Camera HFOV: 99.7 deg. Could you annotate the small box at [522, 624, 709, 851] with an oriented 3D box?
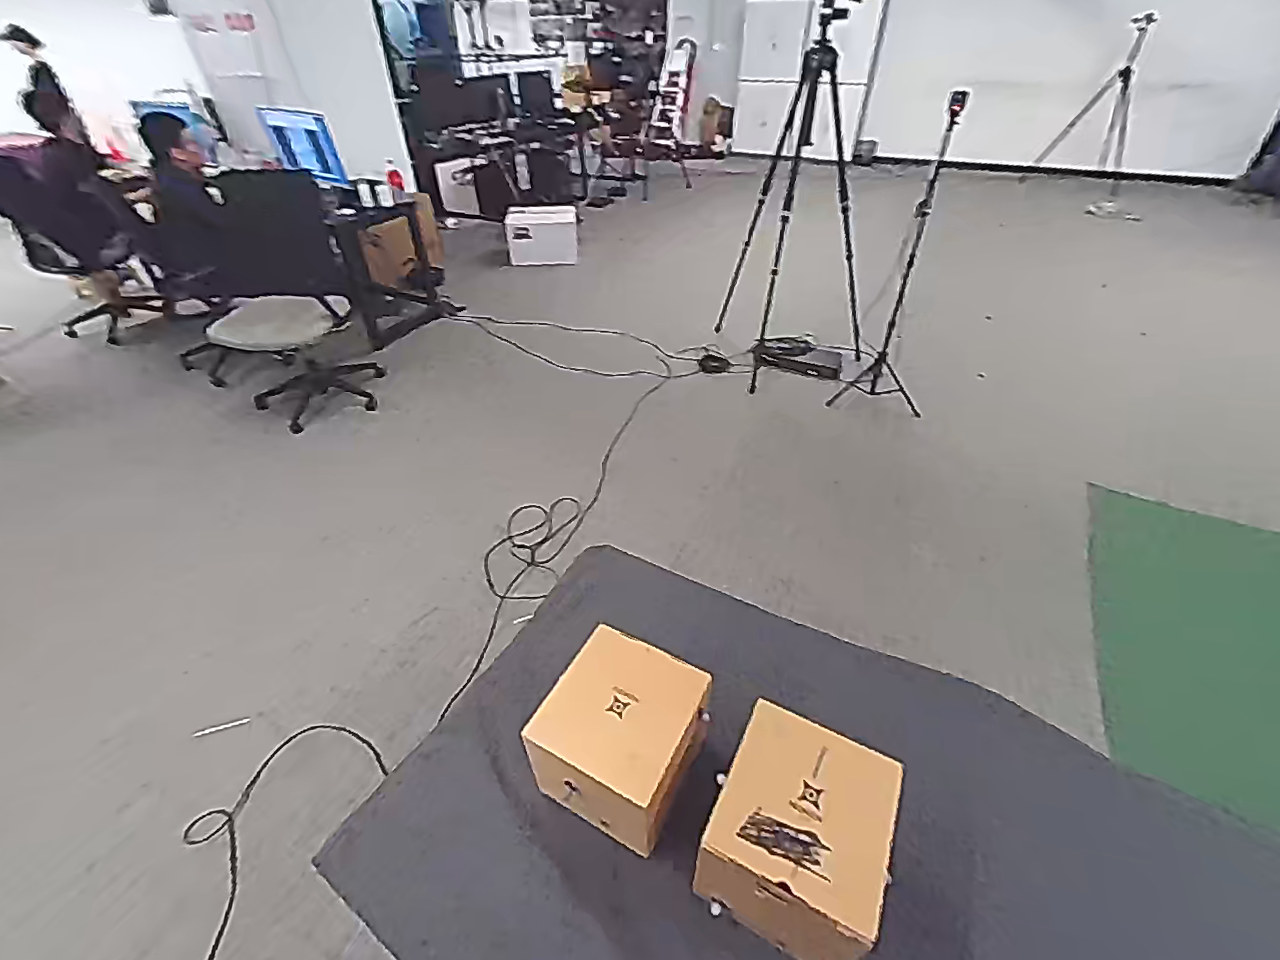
[{"bbox_3d":[-0.023,0.327,0.692,0.168,0.176,0.179,19,43,22],"label":"small box"}]
